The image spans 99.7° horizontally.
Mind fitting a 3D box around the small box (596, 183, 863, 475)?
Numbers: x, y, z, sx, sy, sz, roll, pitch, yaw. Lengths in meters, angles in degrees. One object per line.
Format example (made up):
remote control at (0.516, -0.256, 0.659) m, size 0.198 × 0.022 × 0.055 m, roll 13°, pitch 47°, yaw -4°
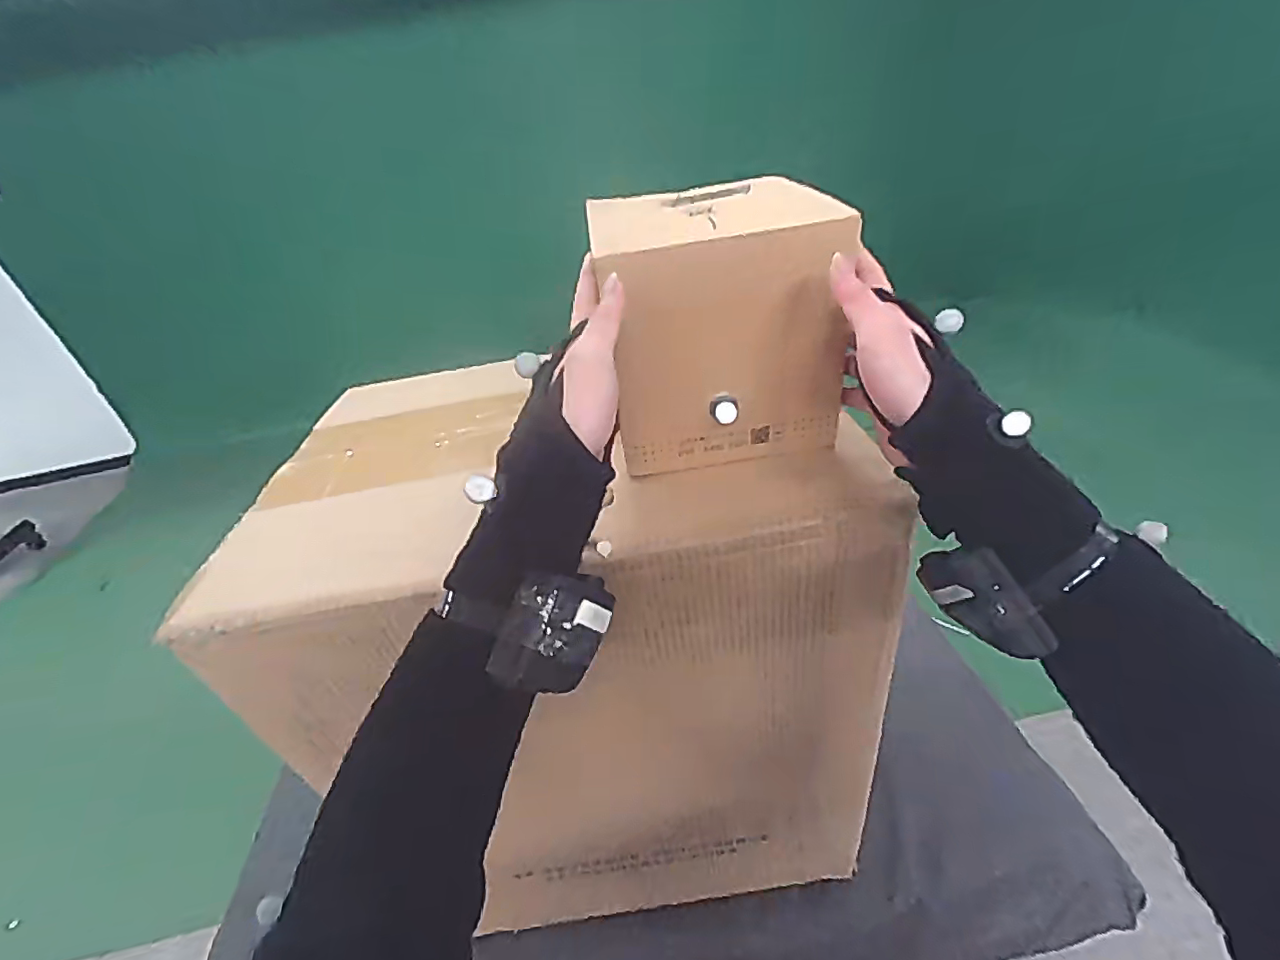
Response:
small box at (0.057, -0.127, 0.441) m, size 0.168 × 0.176 × 0.179 m, roll -8°, pitch 38°, yaw 0°
